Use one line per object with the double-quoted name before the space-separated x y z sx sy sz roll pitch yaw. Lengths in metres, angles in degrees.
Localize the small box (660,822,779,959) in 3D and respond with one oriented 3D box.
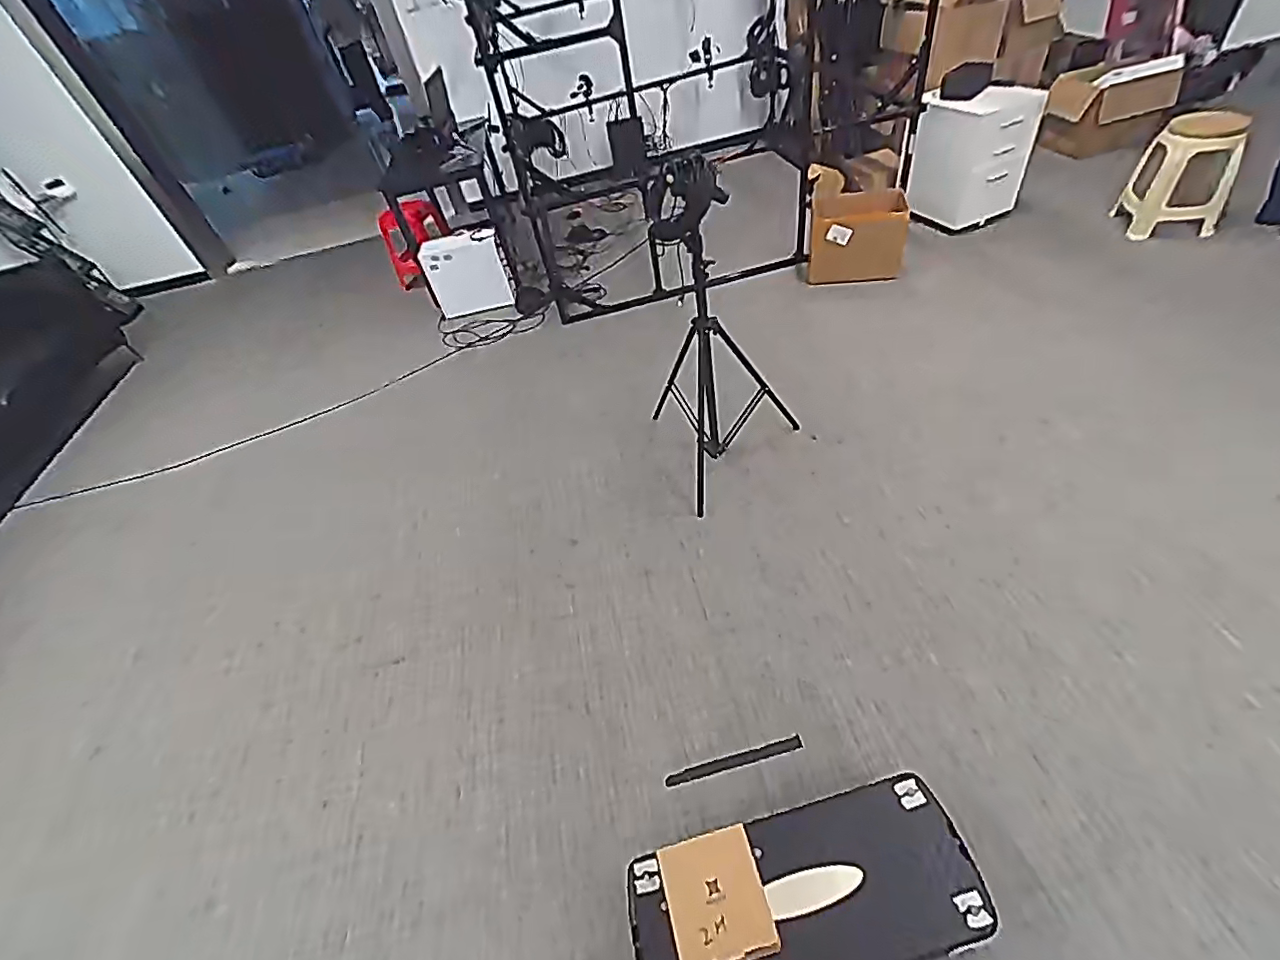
"small box" 0.139 0.756 0.975 0.168 0.176 0.179 -16 45 -2
